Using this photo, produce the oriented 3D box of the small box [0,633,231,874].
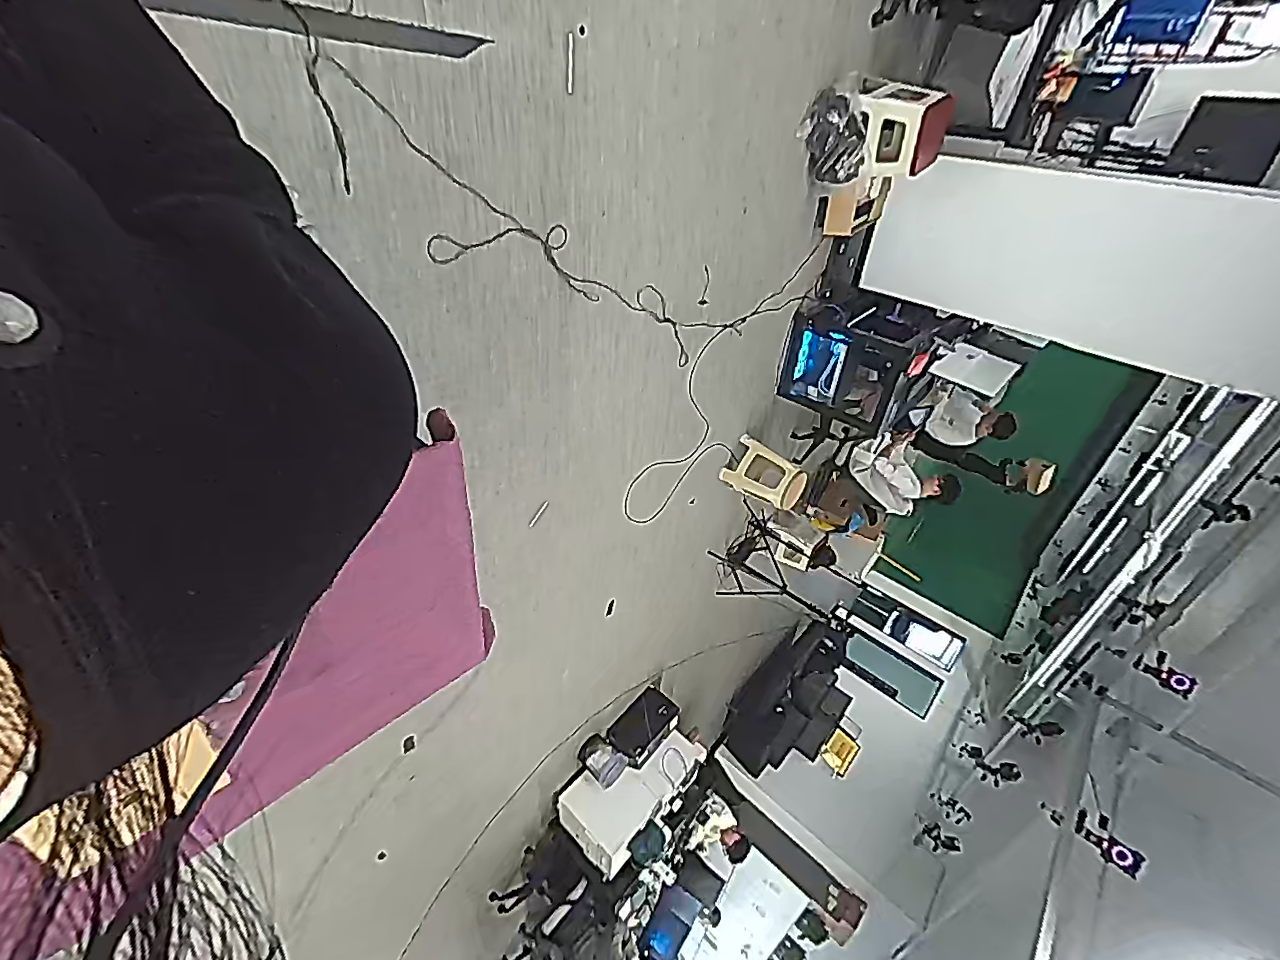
[{"bbox_3d":[-0.661,0.331,0.682,0.168,0.176,0.179,-28,138,-42],"label":"small box"}]
